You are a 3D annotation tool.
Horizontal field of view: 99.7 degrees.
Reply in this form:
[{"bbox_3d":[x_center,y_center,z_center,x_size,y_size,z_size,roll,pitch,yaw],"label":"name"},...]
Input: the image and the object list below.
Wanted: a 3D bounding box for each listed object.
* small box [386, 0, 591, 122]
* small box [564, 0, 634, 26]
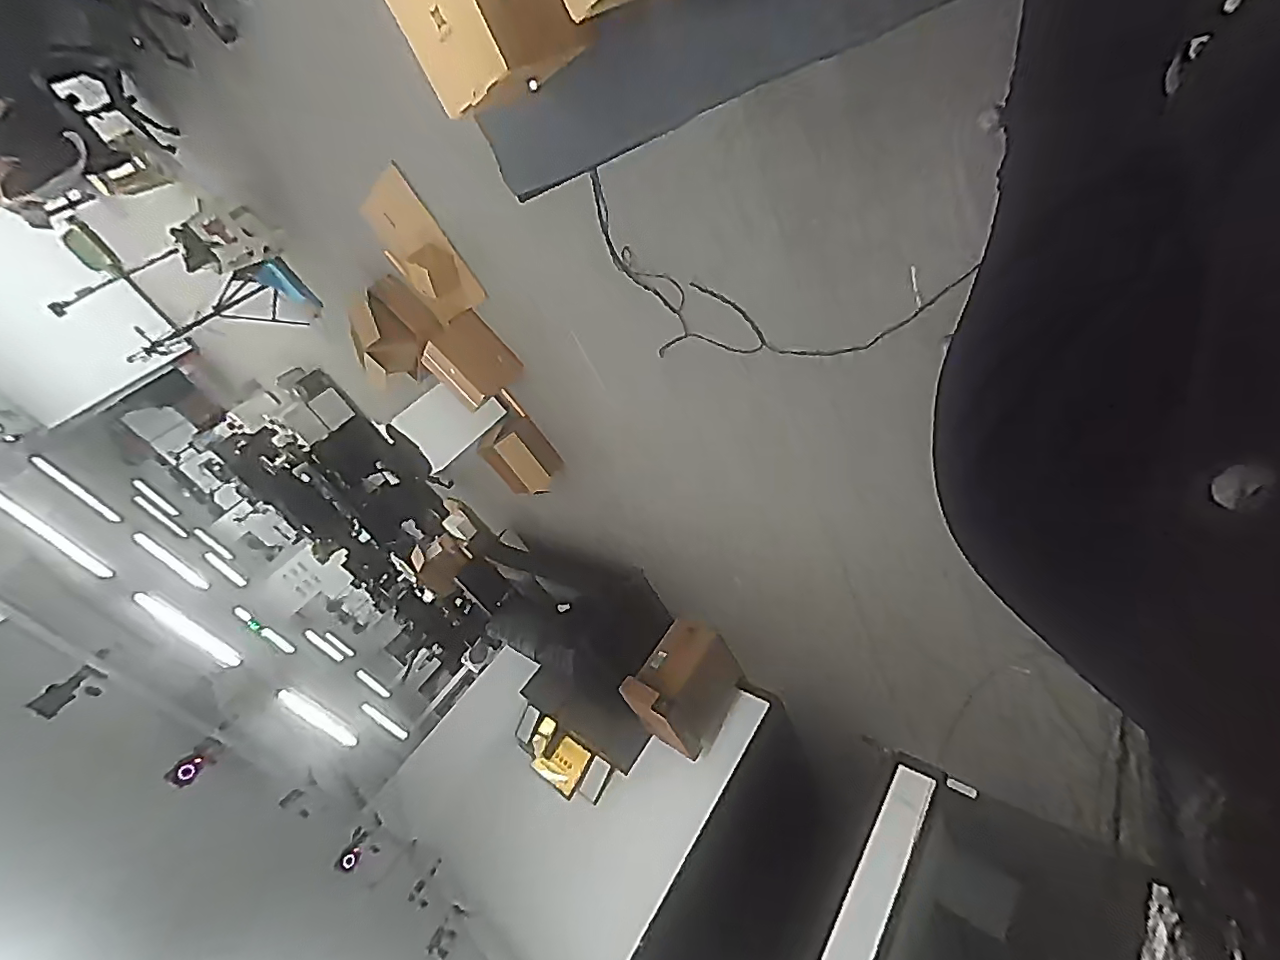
[{"bbox_3d":[-0.200,-0.624,0.719,0.168,0.176,0.179,7,136,46],"label":"small box"},{"bbox_3d":[0.000,-0.592,0.514,0.168,0.176,0.179,9,137,45],"label":"small box"}]
